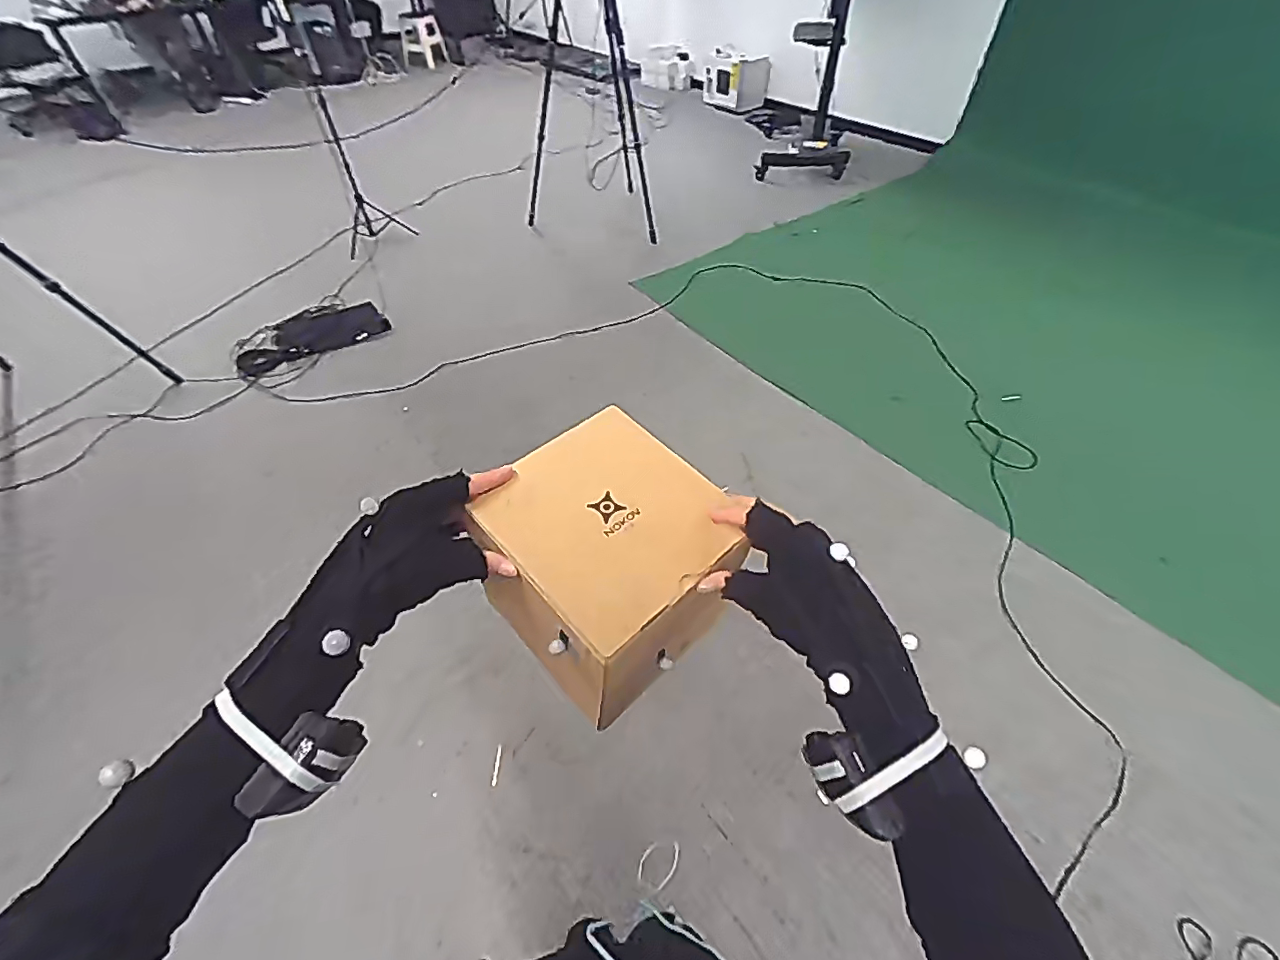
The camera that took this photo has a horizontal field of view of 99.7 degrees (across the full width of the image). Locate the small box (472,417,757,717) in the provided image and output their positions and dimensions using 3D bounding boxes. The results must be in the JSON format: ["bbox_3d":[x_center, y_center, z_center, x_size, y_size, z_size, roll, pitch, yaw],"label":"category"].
[{"bbox_3d":[-0.029,0.081,0.496,0.168,0.176,0.179,-34,63,-29],"label":"small box"}]
